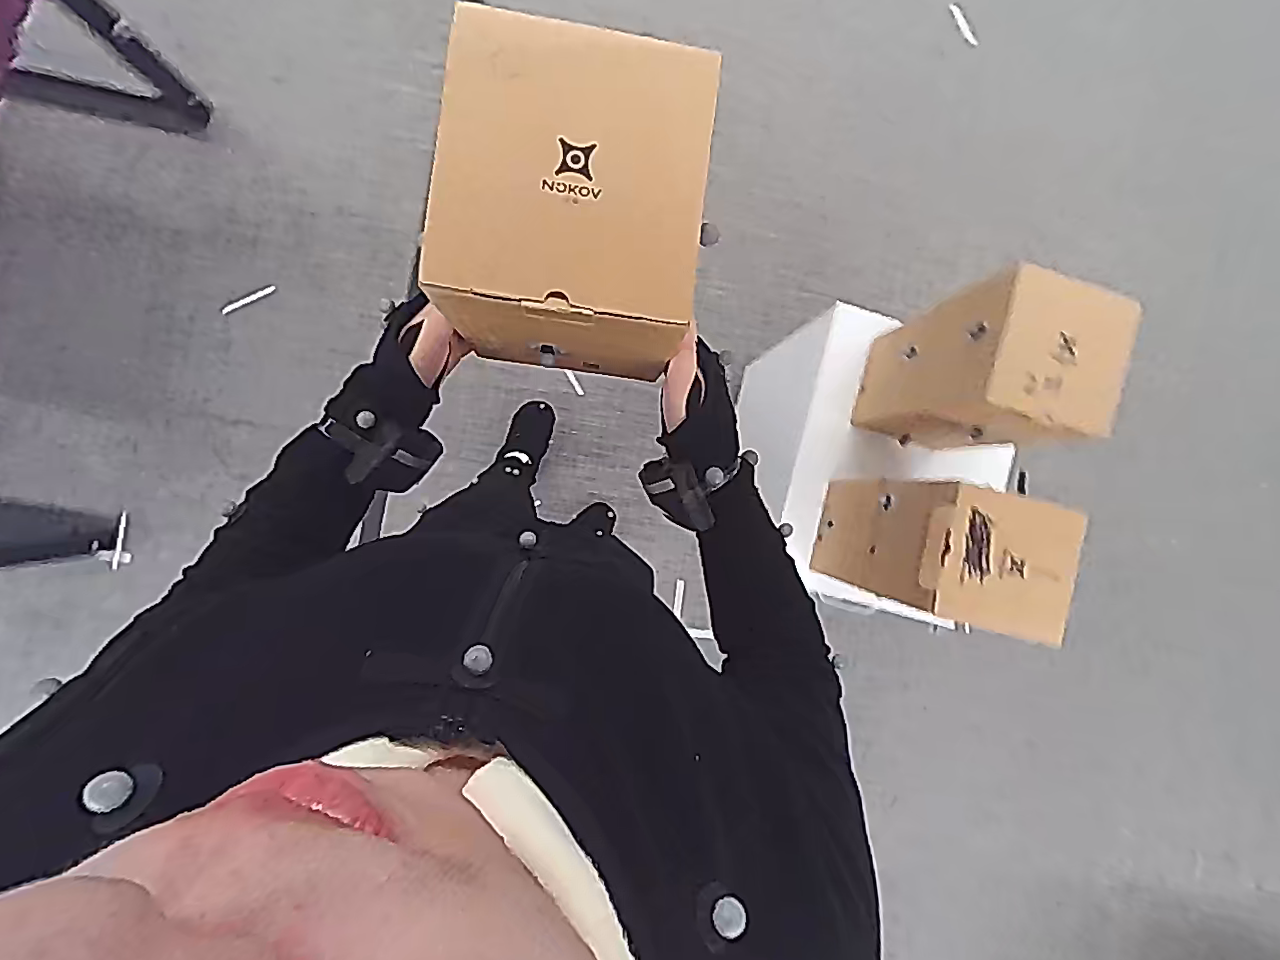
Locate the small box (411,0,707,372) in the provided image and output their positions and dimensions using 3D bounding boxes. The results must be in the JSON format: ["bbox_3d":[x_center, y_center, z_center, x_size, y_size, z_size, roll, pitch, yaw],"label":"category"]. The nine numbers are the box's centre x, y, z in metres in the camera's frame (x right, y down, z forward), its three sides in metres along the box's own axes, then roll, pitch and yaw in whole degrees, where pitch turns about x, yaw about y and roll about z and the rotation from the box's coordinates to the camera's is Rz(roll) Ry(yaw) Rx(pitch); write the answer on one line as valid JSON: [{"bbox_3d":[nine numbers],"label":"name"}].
[{"bbox_3d":[-0.055,-0.191,0.407,0.168,0.176,0.179,5,90,-5],"label":"small box"}]

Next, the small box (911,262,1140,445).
[{"bbox_3d":[0.498,-0.155,0.724,0.168,0.176,0.179,16,89,-5],"label":"small box"}]

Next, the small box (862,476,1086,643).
[{"bbox_3d":[0.427,0.097,0.720,0.179,0.176,0.168,14,89,-6],"label":"small box"}]

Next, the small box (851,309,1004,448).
[{"bbox_3d":[0.485,-0.155,0.889,0.179,0.176,0.168,17,88,-7],"label":"small box"}]
